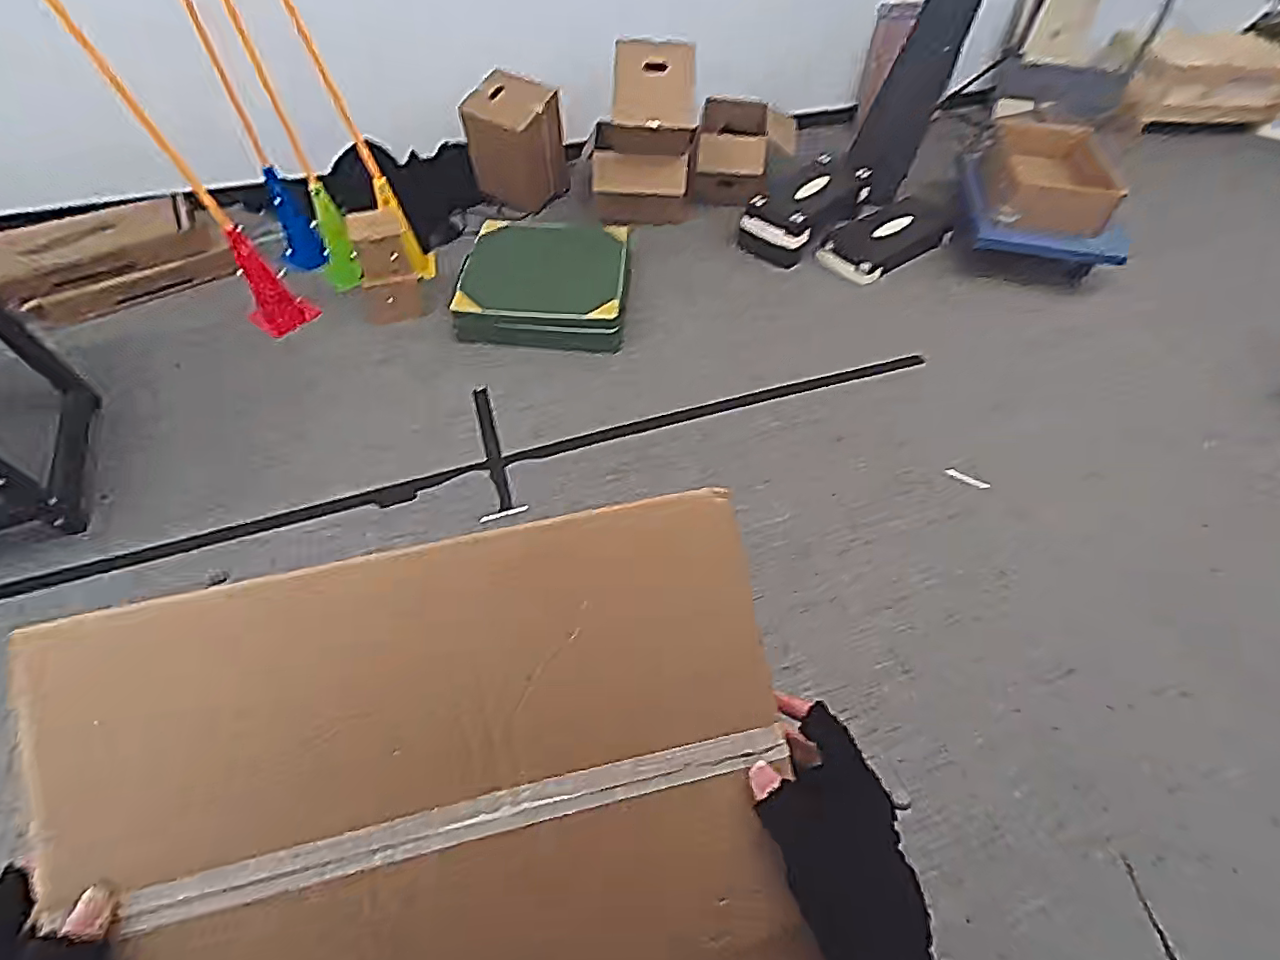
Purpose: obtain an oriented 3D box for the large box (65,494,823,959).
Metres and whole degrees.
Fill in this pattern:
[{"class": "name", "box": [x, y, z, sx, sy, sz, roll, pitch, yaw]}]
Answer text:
[{"class": "large box", "box": [-0.124, 0.215, 0.465, 0.408, 0.320, 0.320, -11, 85, -6]}]
